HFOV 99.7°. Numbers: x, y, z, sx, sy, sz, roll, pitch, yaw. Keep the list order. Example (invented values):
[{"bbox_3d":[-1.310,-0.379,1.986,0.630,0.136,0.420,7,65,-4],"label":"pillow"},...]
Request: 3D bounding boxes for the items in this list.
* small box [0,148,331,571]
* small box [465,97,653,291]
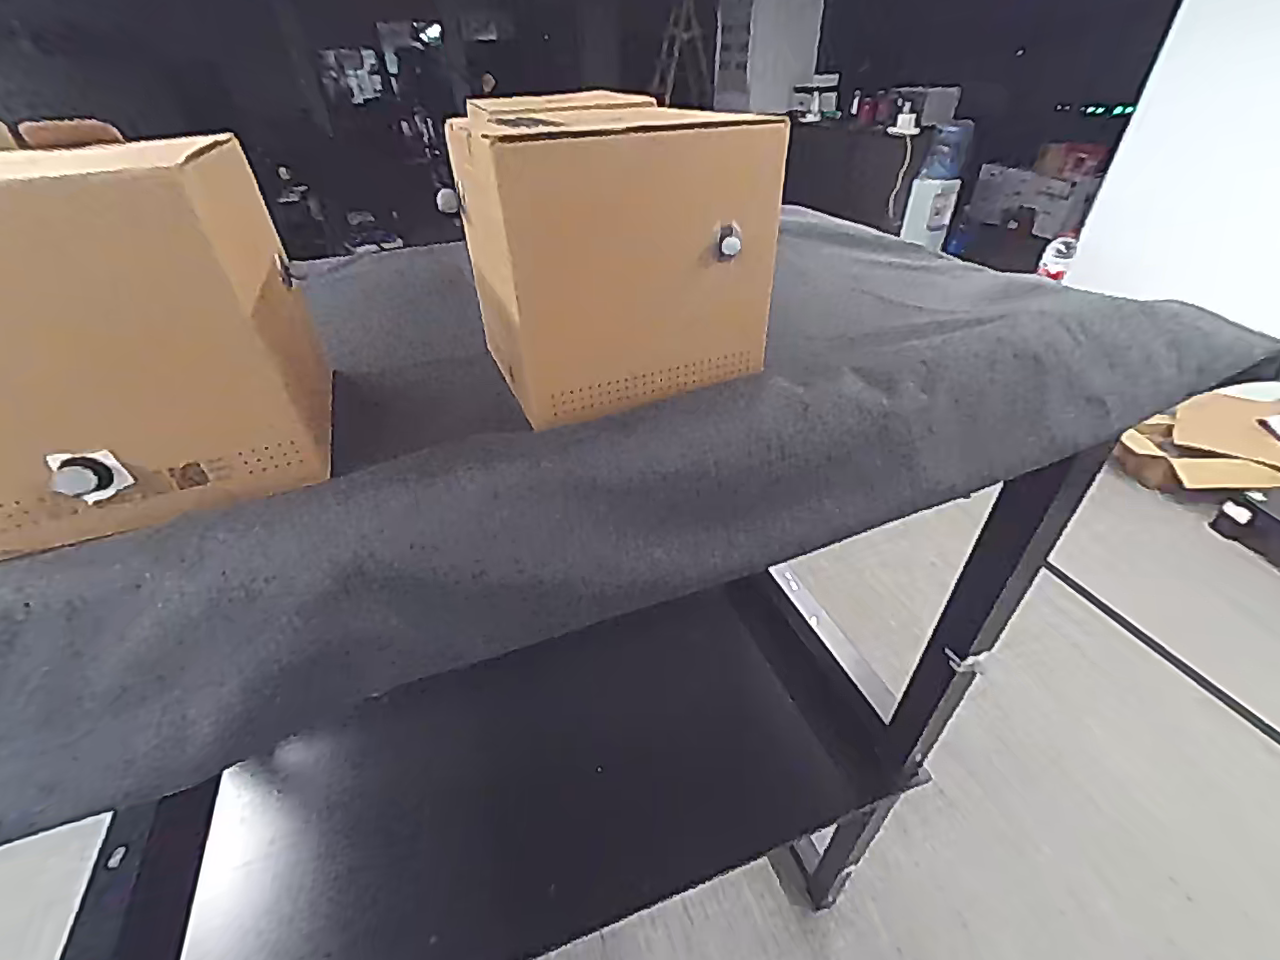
[{"bbox_3d":[-0.295,-0.081,0.307,0.168,0.176,0.179,-17,39,-18],"label":"small box"},{"bbox_3d":[-0.089,-0.325,0.617,0.168,0.176,0.179,-15,39,-15],"label":"small box"}]
